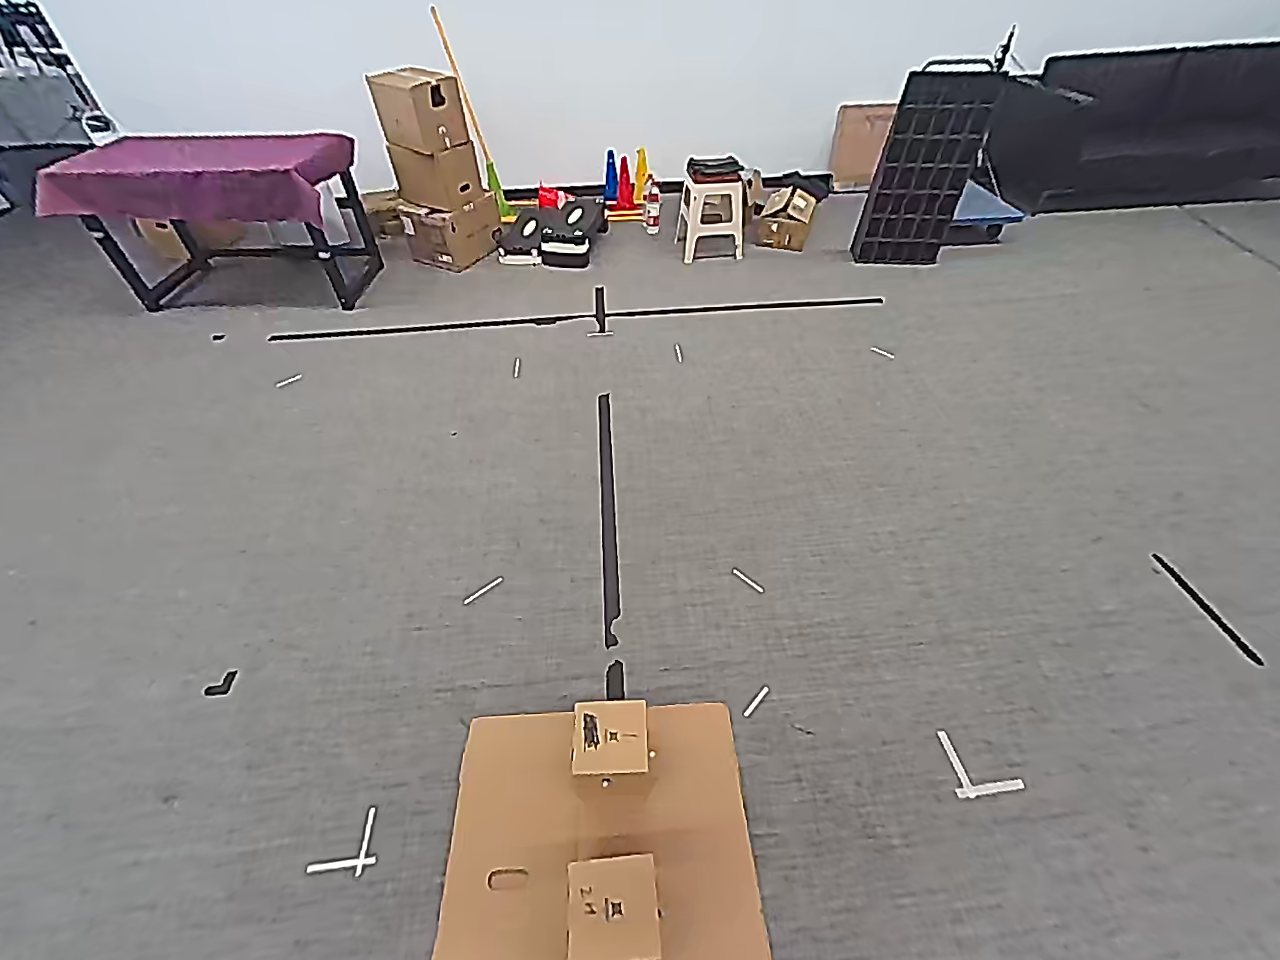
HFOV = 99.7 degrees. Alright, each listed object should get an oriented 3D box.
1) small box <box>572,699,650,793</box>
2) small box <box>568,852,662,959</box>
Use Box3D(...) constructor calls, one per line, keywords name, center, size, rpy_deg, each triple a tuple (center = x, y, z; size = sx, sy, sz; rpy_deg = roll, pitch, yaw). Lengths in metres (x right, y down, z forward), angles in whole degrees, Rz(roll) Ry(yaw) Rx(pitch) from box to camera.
Box3D(name="small box", center=(-0.066, 0.658, 1.333), size=(0.179, 0.176, 0.168), rpy_deg=(-2, 45, 0))
Box3D(name="small box", center=(-0.049, 0.882, 1.109), size=(0.179, 0.176, 0.168), rpy_deg=(-4, 45, -1))
